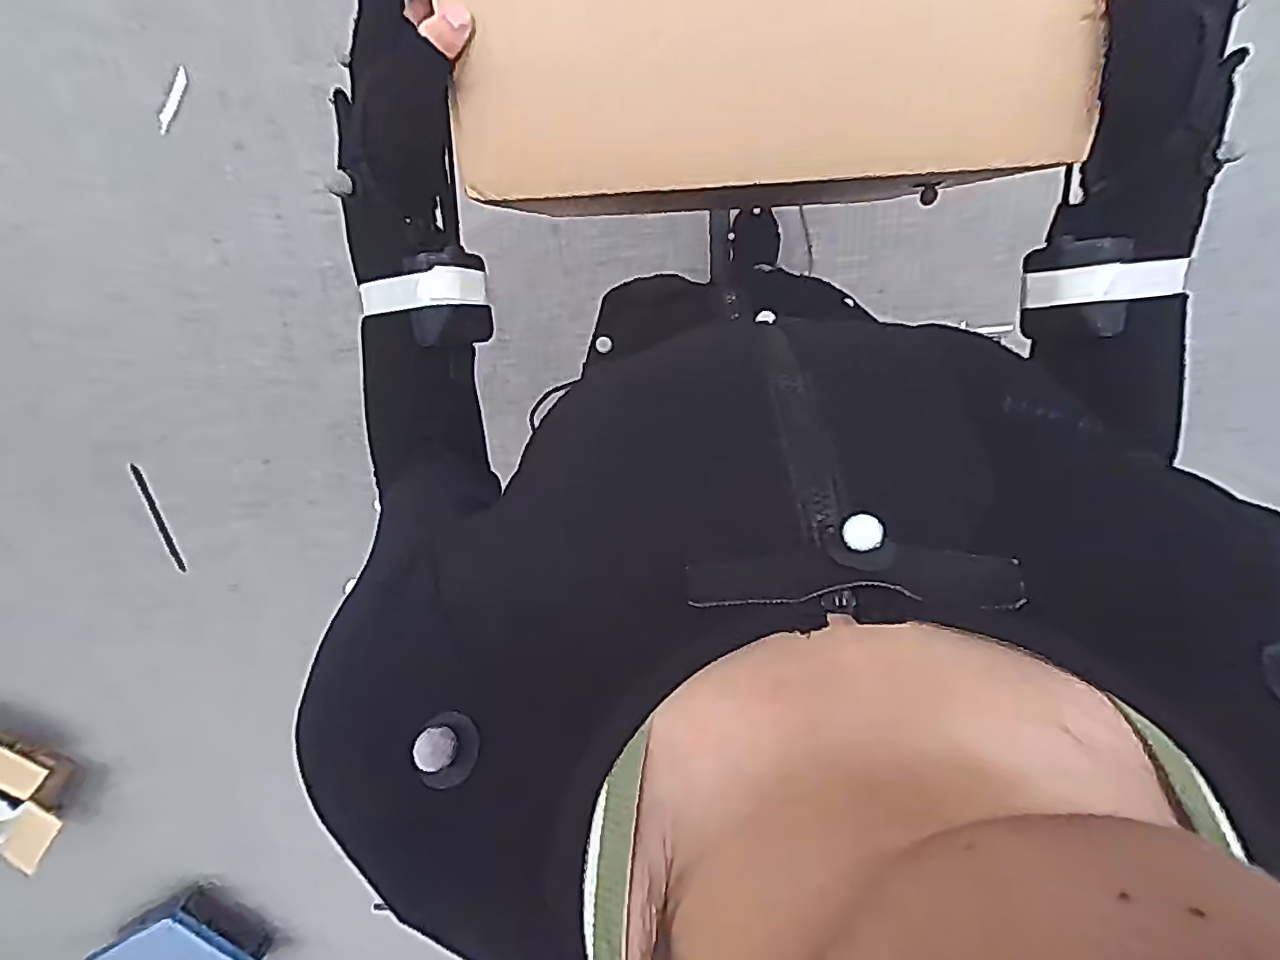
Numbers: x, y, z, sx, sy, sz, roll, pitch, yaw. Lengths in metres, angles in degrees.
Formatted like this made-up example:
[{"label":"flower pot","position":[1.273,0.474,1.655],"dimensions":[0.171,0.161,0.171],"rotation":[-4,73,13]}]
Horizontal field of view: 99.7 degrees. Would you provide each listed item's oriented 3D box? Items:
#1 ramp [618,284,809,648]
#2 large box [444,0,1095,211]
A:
[{"label":"ramp","position":[0.208,0.001,1.483],"dimensions":[0.509,0.206,0.991],"rotation":[-3,112,7]},{"label":"large box","position":[0.079,-0.406,0.441],"dimensions":[0.408,0.320,0.320],"rotation":[-2,114,2]}]
